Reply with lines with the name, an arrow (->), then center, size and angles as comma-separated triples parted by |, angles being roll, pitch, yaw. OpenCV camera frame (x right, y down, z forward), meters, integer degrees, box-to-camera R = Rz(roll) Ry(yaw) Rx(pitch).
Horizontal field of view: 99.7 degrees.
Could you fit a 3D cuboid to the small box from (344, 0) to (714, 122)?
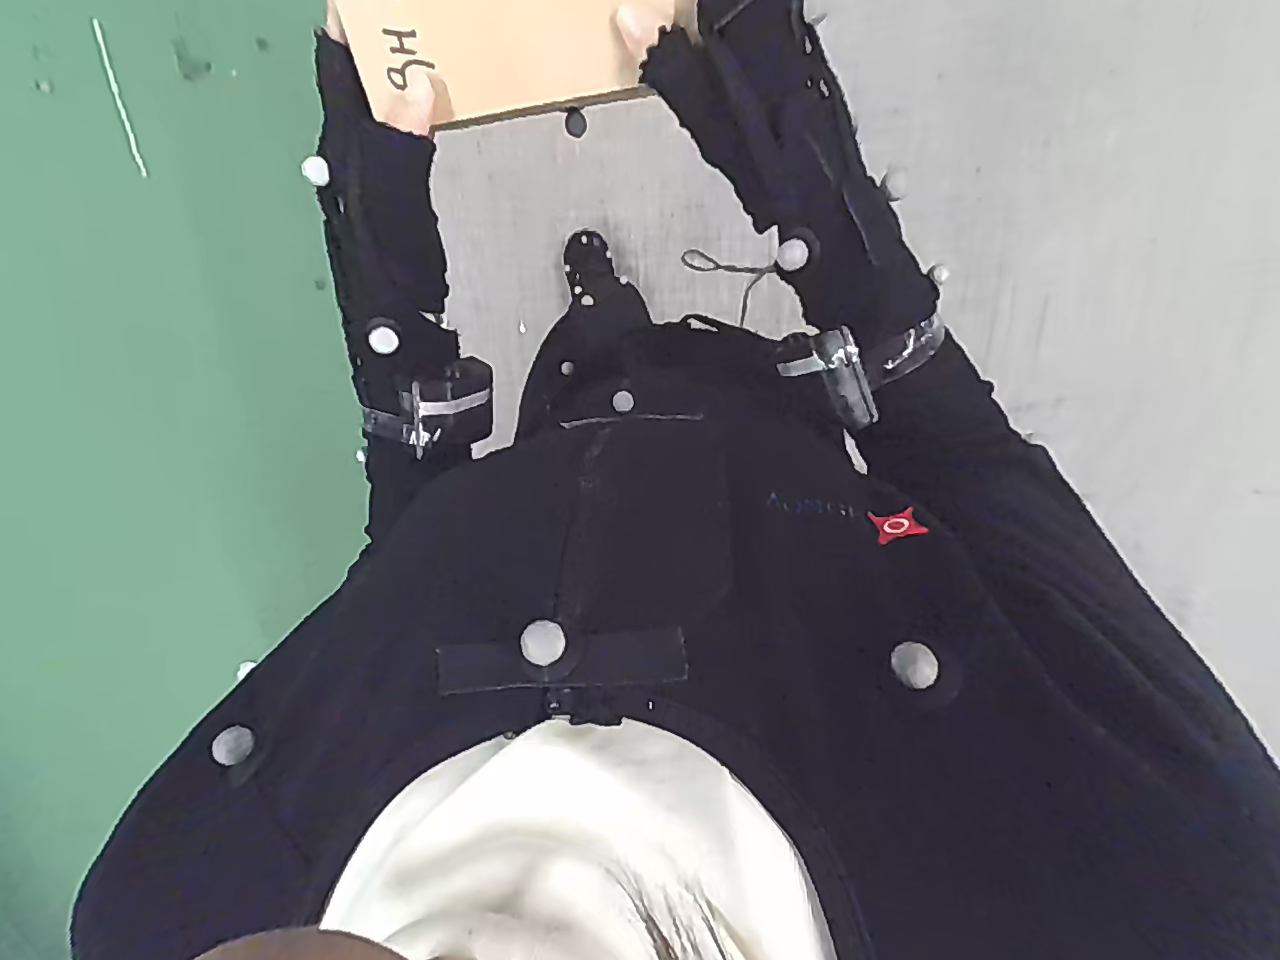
small box -> -0.058, -0.308, 0.299 | 0.179, 0.176, 0.168 | -6, 123, 5
